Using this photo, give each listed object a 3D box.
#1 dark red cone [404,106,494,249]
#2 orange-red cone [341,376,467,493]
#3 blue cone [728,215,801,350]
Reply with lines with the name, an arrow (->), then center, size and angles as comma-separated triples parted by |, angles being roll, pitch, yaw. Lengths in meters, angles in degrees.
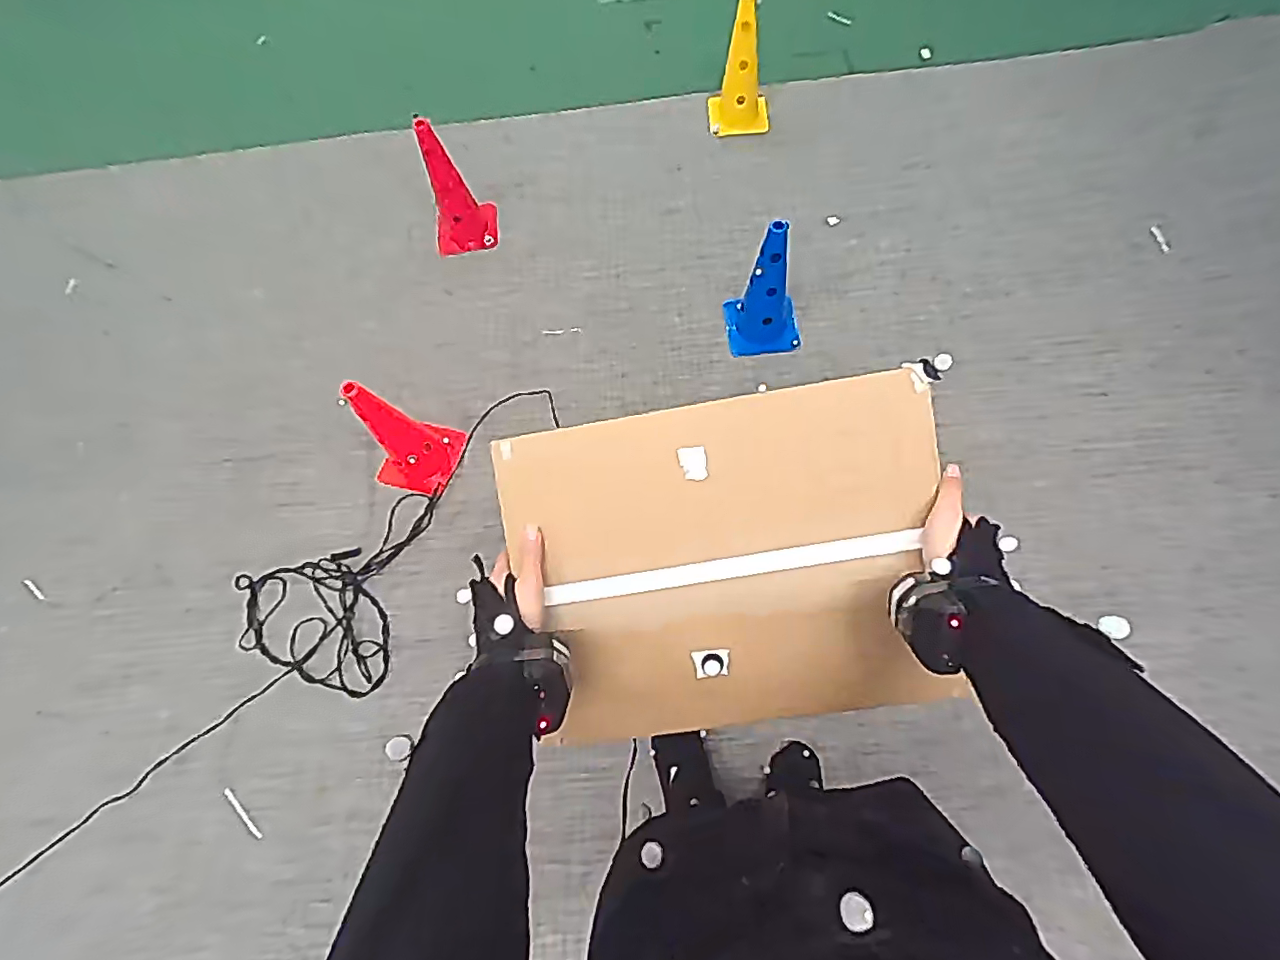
dark red cone -> -0.594, -0.914, 1.631 | 0.202, 0.394, 0.201 | -12, 63, 1
orange-red cone -> -0.611, -0.137, 1.325 | 0.199, 0.360, 0.198 | 13, 68, 13
blue cone -> 0.340, -0.520, 1.404 | 0.192, 0.380, 0.193 | -4, 67, 4
